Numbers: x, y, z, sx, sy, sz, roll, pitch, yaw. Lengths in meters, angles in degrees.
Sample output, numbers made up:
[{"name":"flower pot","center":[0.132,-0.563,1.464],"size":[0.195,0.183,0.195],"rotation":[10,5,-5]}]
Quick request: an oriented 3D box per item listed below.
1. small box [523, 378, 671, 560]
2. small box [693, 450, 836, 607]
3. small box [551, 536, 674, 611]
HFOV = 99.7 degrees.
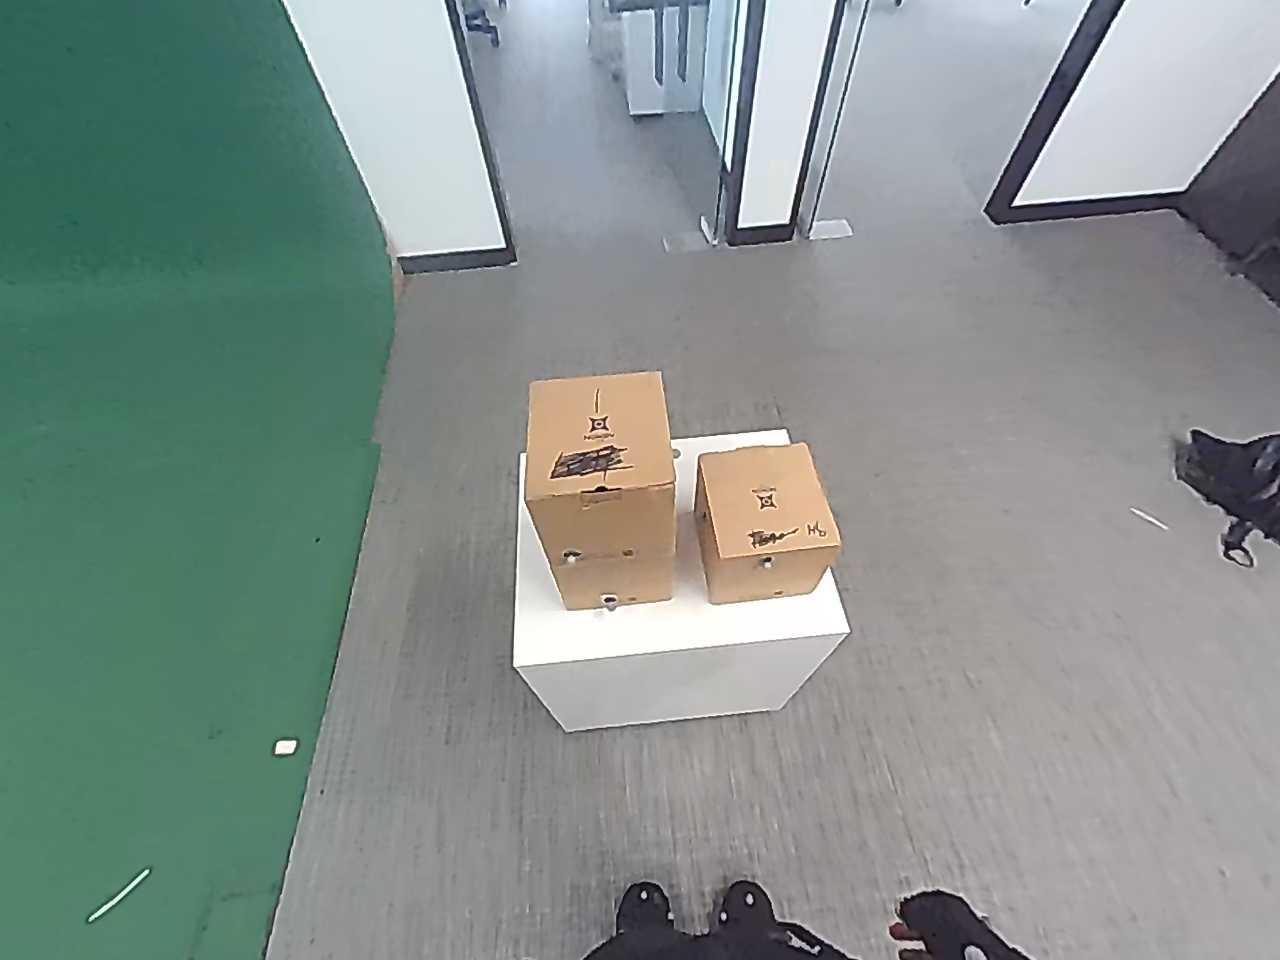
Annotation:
[{"name":"small box","center":[-0.047,-0.006,0.701],"size":[0.168,0.176,0.179],"rotation":[-4,54,0]},{"name":"small box","center":[0.176,0.076,0.832],"size":[0.168,0.176,0.179],"rotation":[-5,54,-2]},{"name":"small box","center":[-0.044,0.079,0.822],"size":[0.168,0.176,0.179],"rotation":[-7,56,-2]}]
